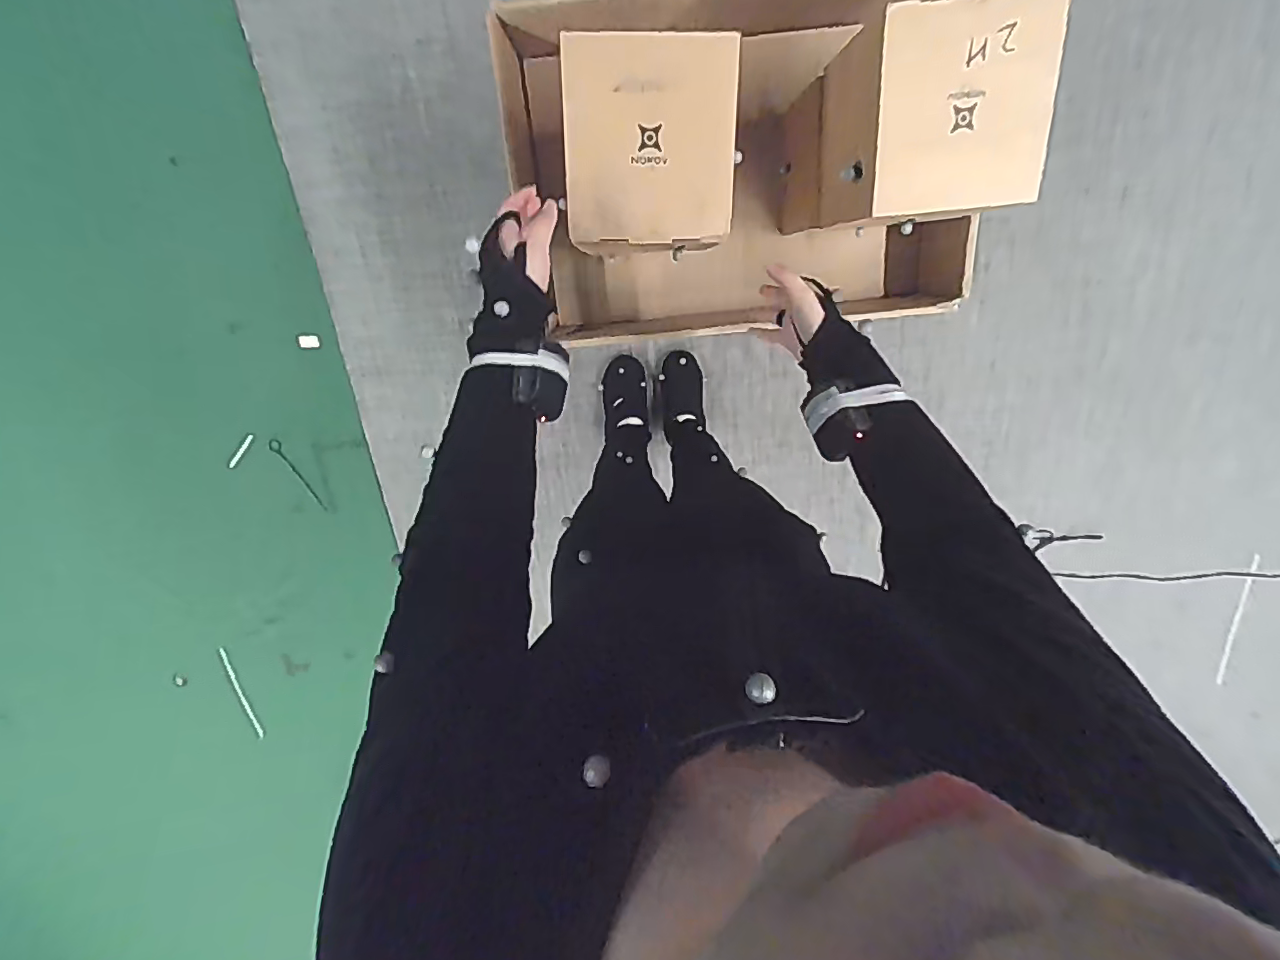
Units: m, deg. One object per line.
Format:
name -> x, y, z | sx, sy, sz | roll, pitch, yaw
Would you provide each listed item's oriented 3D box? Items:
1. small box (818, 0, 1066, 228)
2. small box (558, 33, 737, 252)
small box -> 0.299, -0.373, 0.582 | 0.168, 0.176, 0.179 | -4, 111, 1
small box -> 0.005, -0.347, 0.591 | 0.168, 0.176, 0.179 | 0, 110, -2
